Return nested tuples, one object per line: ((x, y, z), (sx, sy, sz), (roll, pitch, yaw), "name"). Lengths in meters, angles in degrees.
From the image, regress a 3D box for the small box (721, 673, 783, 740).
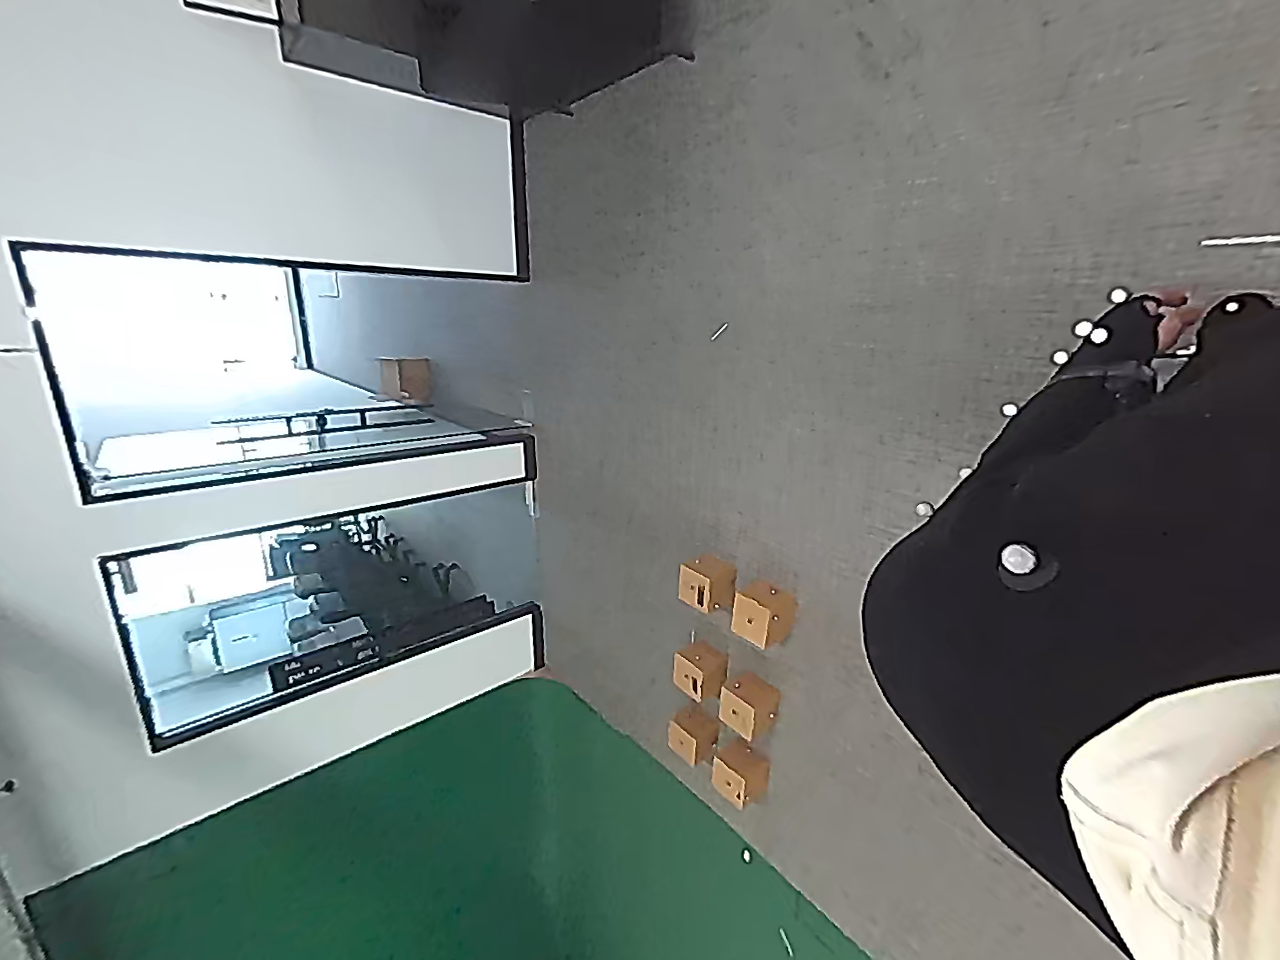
((0.461, 0.925, 2.234), (0.179, 0.176, 0.168), (23, 117, 46), "small box")

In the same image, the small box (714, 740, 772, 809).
((0.446, 1.265, 2.345), (0.179, 0.176, 0.168), (22, 117, 48), "small box")

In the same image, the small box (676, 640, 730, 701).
((0.283, 0.851, 2.435), (0.179, 0.176, 0.168), (23, 117, 47), "small box")

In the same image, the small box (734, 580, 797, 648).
((0.486, 0.514, 2.094), (0.168, 0.176, 0.179), (23, 116, 46), "small box")
